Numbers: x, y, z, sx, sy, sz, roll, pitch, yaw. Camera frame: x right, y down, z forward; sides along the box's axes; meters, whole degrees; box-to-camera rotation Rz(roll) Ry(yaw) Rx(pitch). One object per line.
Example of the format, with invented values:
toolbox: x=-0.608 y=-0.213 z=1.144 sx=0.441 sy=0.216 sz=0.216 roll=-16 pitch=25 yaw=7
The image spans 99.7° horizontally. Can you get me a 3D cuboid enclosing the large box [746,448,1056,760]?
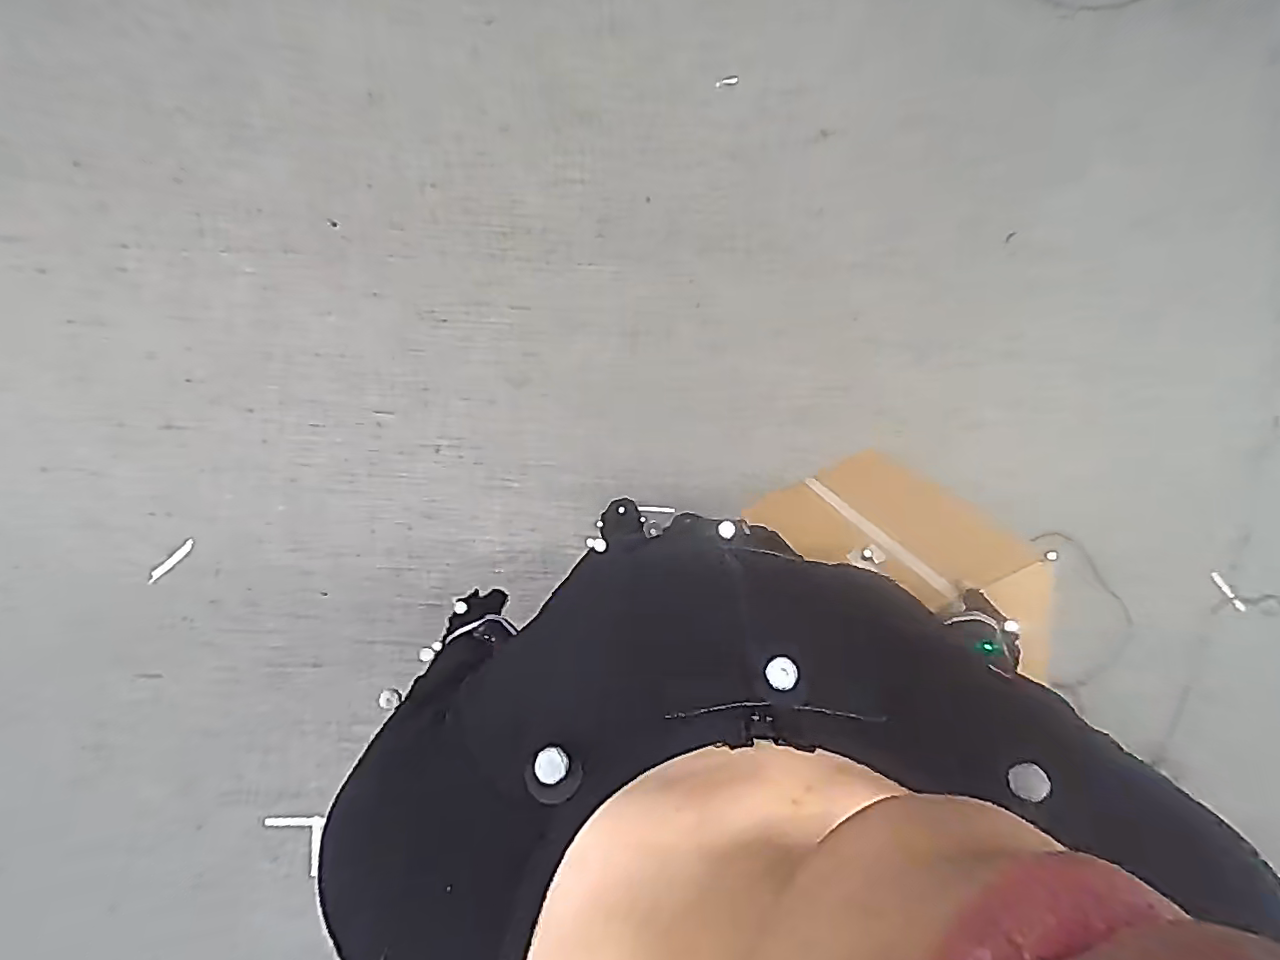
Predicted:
large box: x=0.444 y=0.198 z=0.989 sx=0.320 sy=0.408 sz=0.320 roll=-25 pitch=119 yaw=-3
